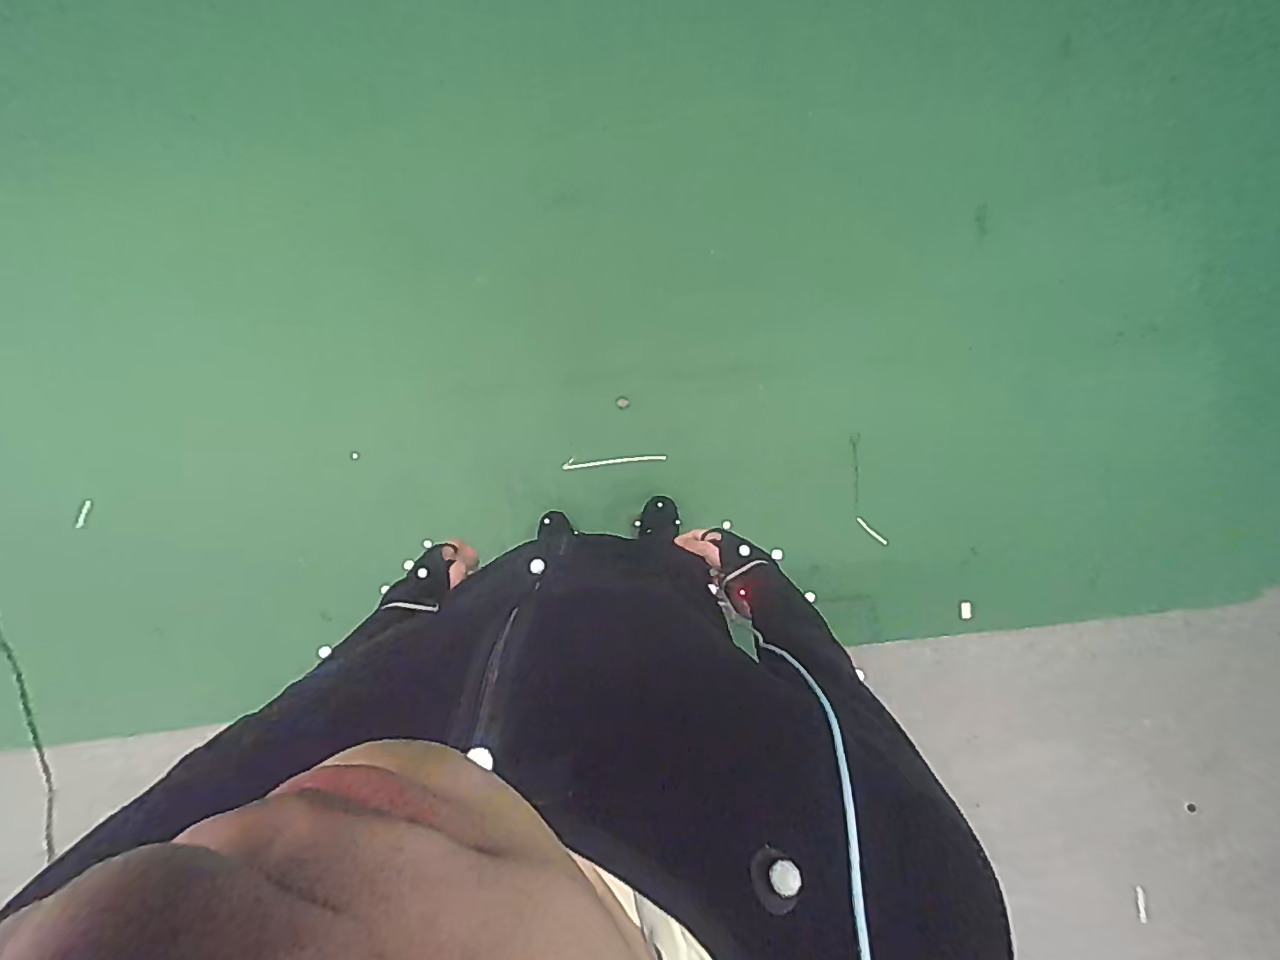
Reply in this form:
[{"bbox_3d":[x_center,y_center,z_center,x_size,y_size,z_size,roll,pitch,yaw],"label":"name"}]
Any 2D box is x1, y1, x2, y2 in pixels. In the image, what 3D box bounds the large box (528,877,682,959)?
[{"bbox_3d":[-0.114,1.376,1.484,0.408,0.320,0.320,12,89,-1],"label":"large box"}]
